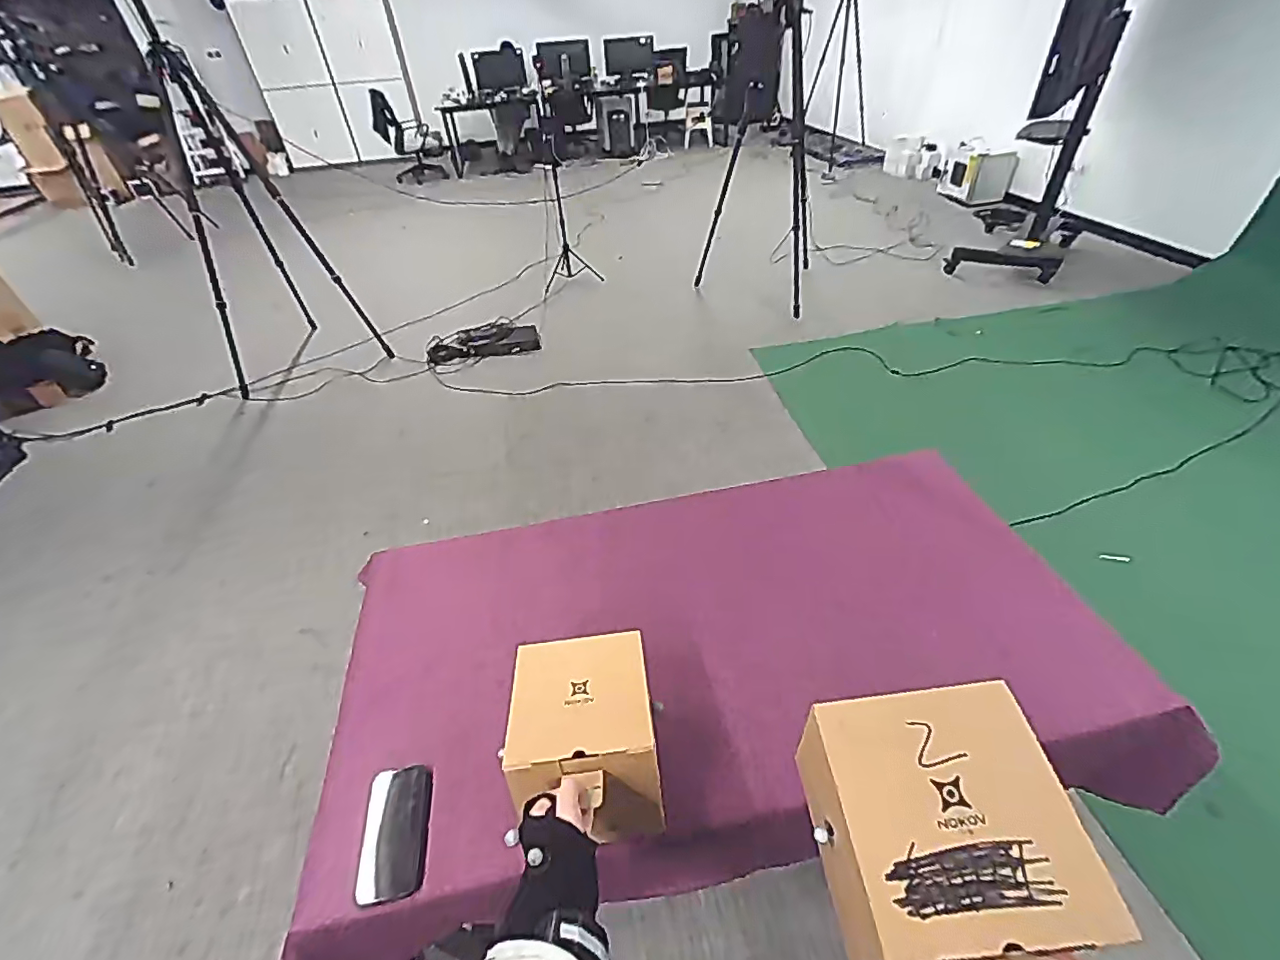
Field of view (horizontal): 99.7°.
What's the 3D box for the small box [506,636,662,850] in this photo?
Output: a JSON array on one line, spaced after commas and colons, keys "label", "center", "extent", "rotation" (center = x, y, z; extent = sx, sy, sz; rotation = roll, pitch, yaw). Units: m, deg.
[{"label": "small box", "center": [-0.065, 0.331, 0.693], "extent": [0.168, 0.176, 0.179], "rotation": [-7, 31, -2]}]
